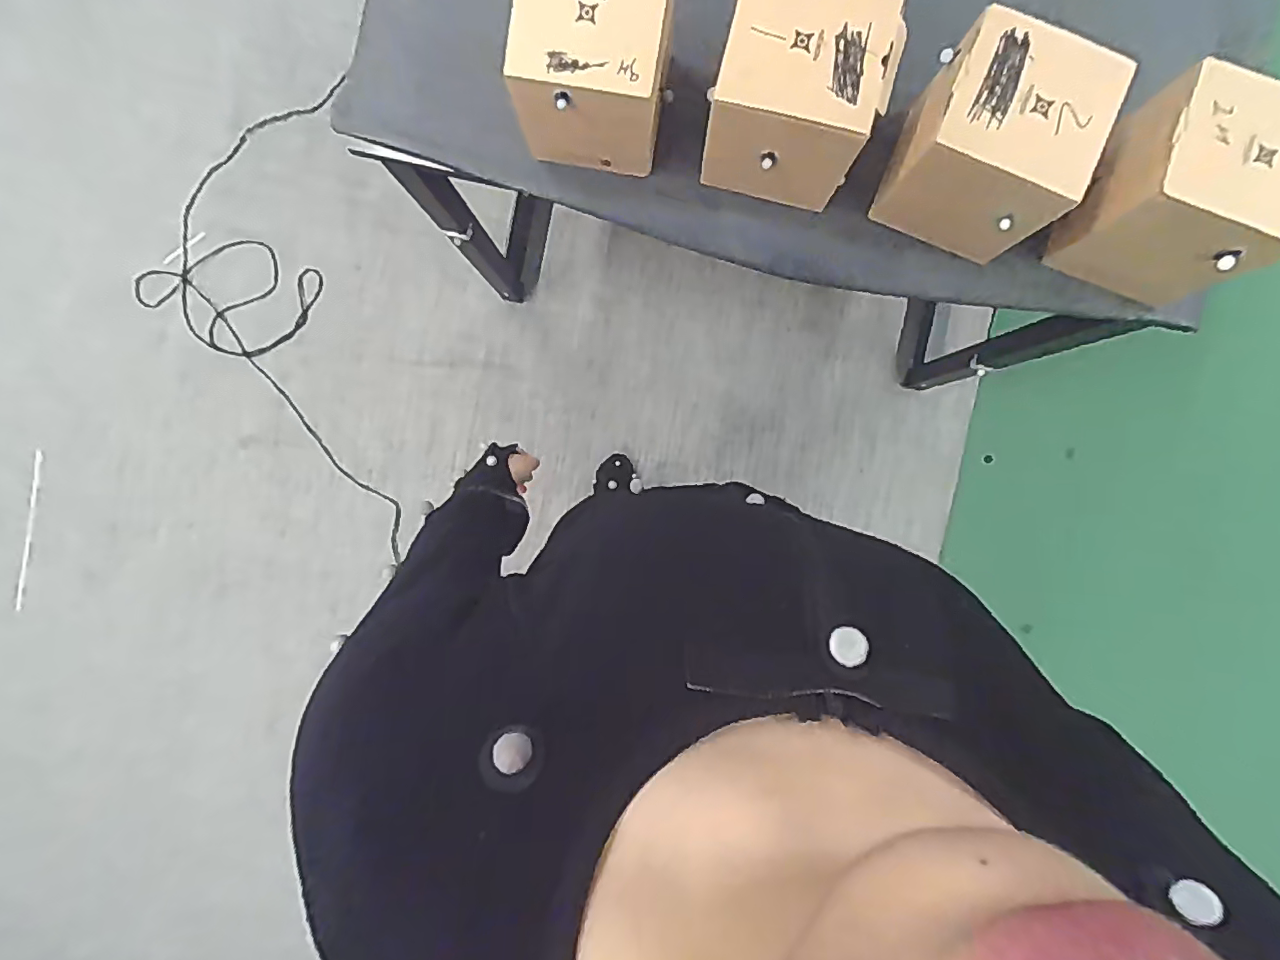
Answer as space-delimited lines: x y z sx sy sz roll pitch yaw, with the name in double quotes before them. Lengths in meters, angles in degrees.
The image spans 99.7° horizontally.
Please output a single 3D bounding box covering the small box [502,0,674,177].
"small box" -0.054 -0.513 0.663 0.168 0.176 0.179 10 92 2
